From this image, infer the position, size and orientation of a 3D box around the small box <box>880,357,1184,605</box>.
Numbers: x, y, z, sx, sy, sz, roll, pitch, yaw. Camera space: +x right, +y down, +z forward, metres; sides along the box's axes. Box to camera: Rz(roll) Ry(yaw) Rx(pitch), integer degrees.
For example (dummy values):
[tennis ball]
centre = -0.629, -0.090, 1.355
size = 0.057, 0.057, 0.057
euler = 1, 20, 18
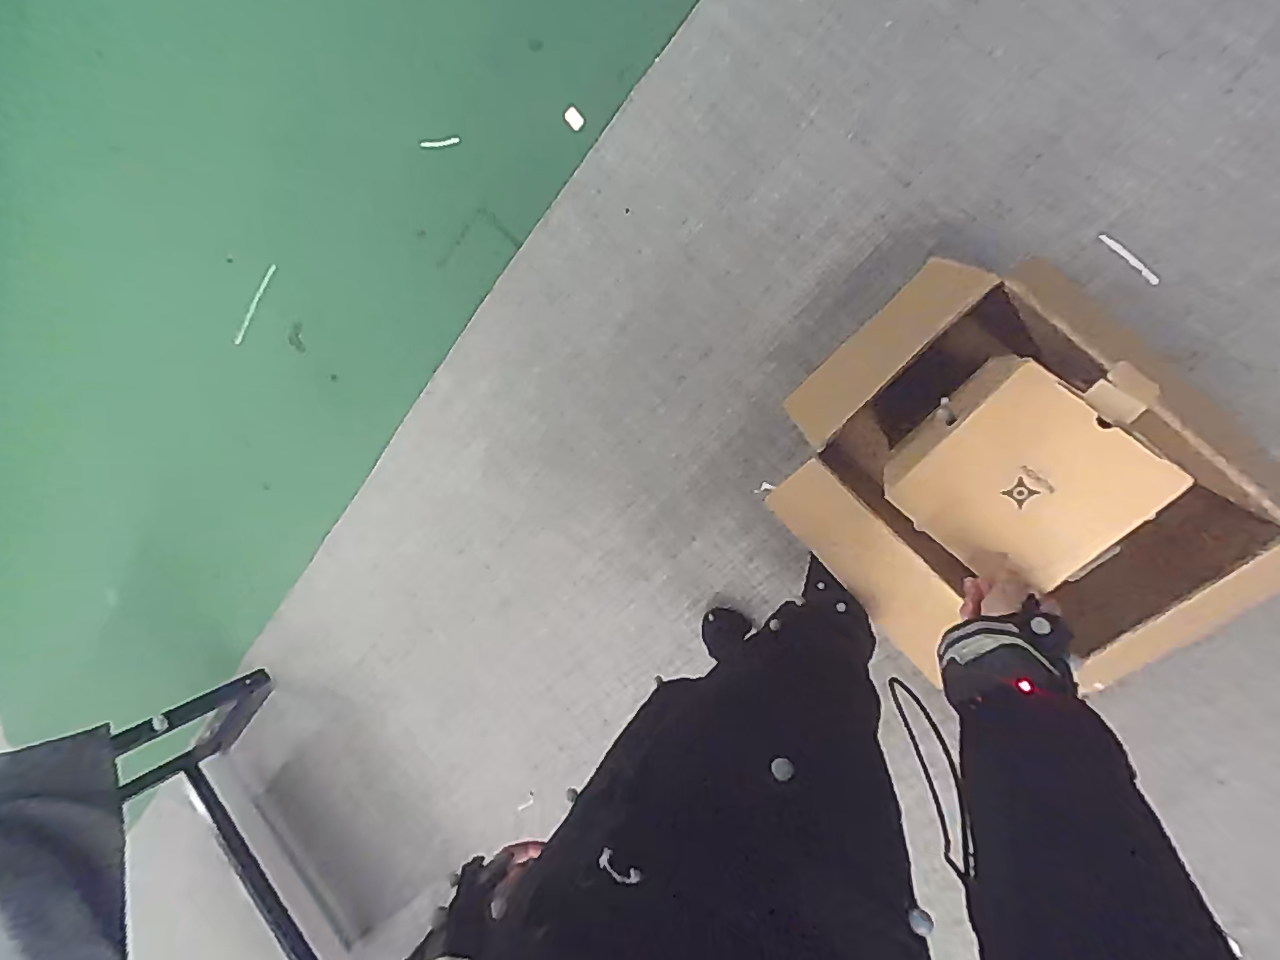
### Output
[small box]
centre = 0.382, -0.006, 0.570
size = 0.168, 0.176, 0.179
euler = 43, 112, 12
